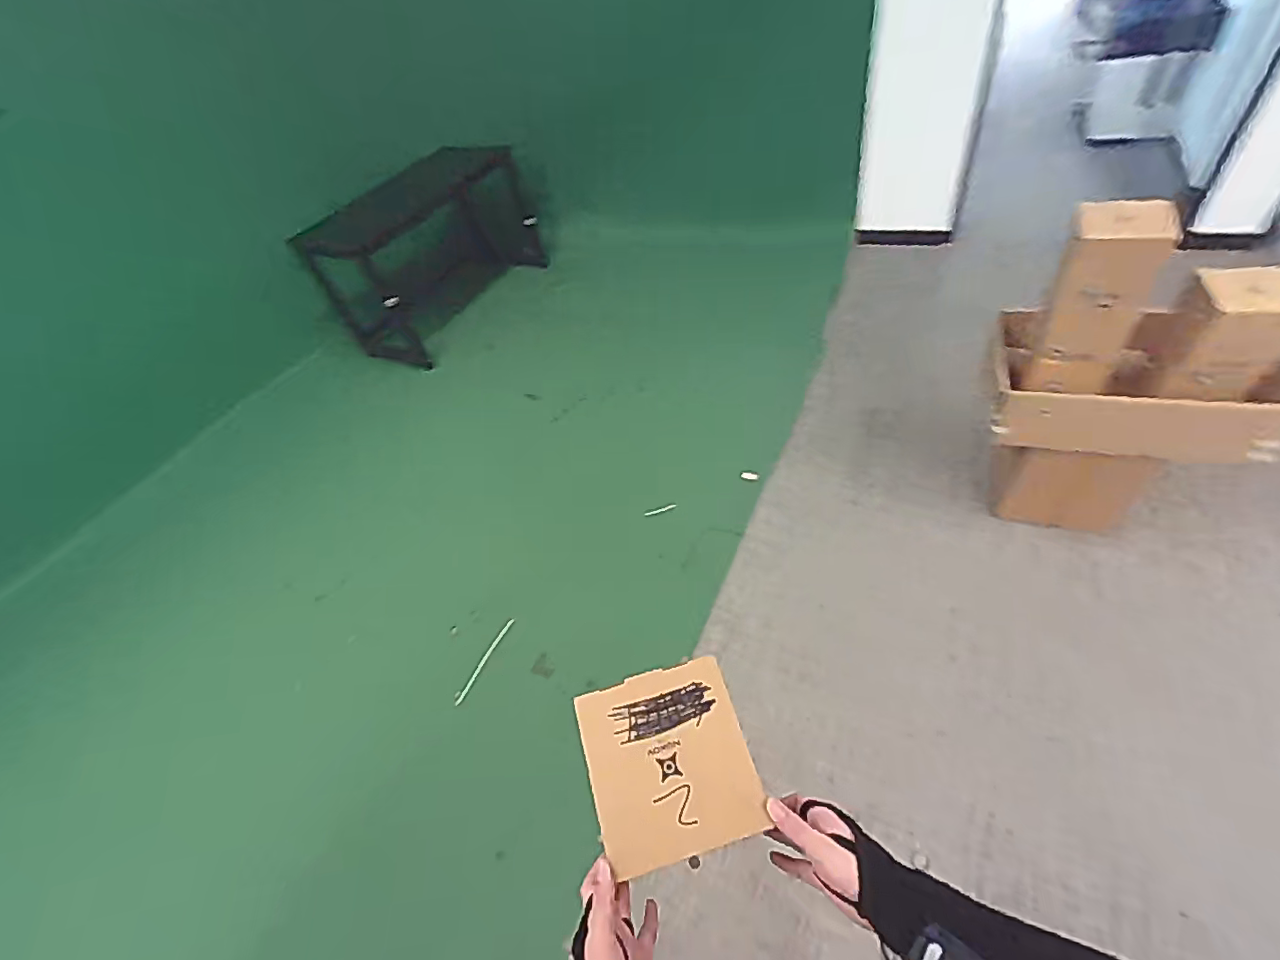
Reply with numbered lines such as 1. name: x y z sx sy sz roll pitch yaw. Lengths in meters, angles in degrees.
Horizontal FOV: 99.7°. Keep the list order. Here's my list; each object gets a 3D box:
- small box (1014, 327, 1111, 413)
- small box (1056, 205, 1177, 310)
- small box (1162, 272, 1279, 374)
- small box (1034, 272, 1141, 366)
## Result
1. small box: 1.162 -0.303 1.500 0.168 0.176 0.179 7 51 21
2. small box: 1.099 -0.522 1.265 0.168 0.176 0.179 12 53 25
3. small box: 1.389 -0.365 1.268 0.168 0.176 0.179 6 51 19
4. small box: 1.132 -0.411 1.381 0.168 0.176 0.179 11 52 23
